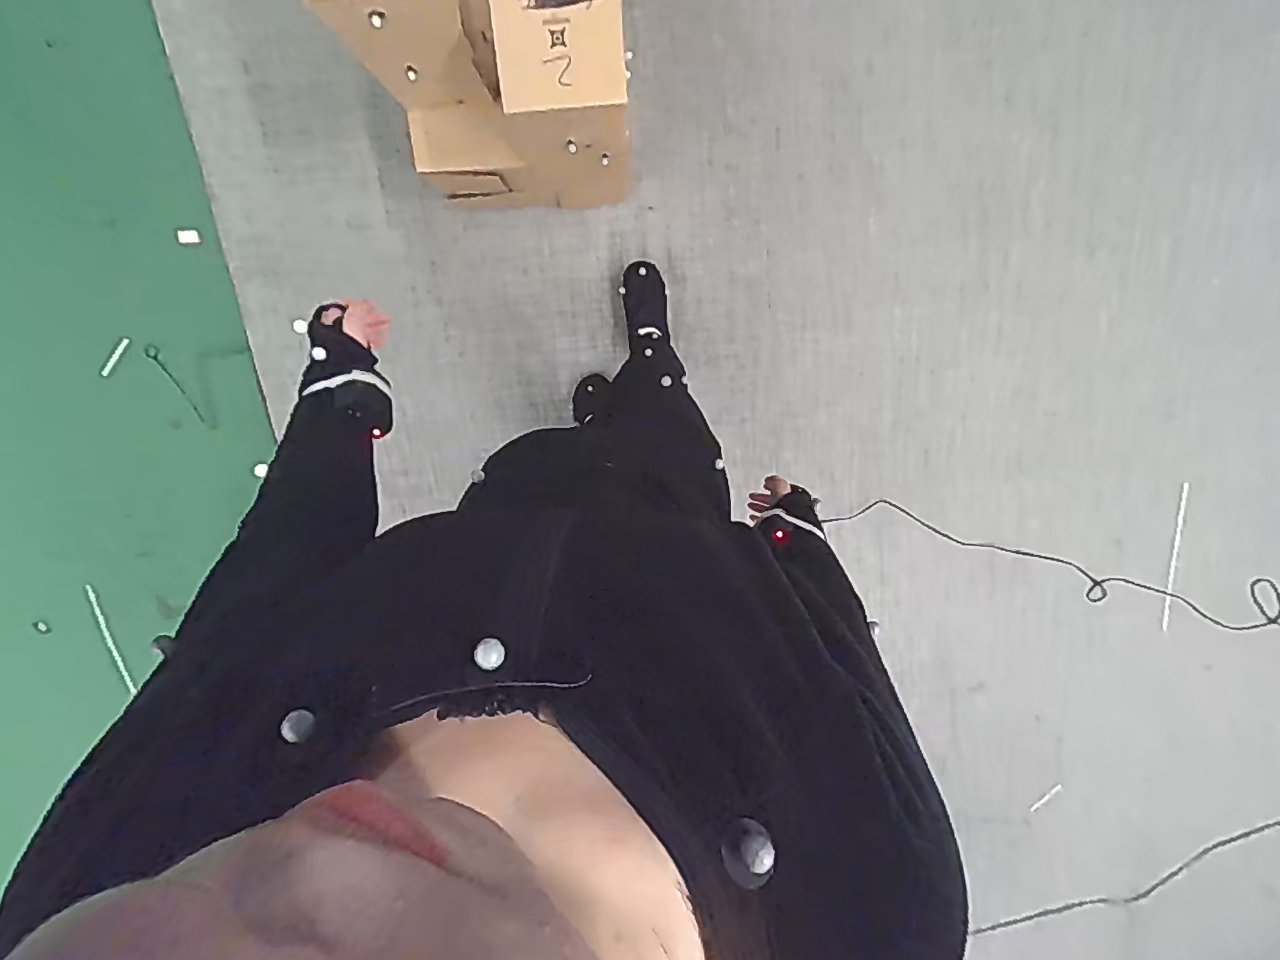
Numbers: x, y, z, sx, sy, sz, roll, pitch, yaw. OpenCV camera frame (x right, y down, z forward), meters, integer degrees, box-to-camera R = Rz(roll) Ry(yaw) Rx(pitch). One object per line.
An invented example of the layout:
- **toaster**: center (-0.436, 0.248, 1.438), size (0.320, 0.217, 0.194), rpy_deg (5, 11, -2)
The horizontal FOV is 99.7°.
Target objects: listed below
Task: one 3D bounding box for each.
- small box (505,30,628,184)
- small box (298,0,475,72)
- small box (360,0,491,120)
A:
- **small box**: center (-0.118, -0.625, 0.925), size (0.179, 0.176, 0.168), rpy_deg (-6, 104, -1)
- **small box**: center (-0.343, -0.686, 0.730), size (0.179, 0.176, 0.168), rpy_deg (-5, 104, 1)
- **small box**: center (-0.354, -0.729, 0.890), size (0.168, 0.176, 0.179), rpy_deg (-4, 103, 0)
